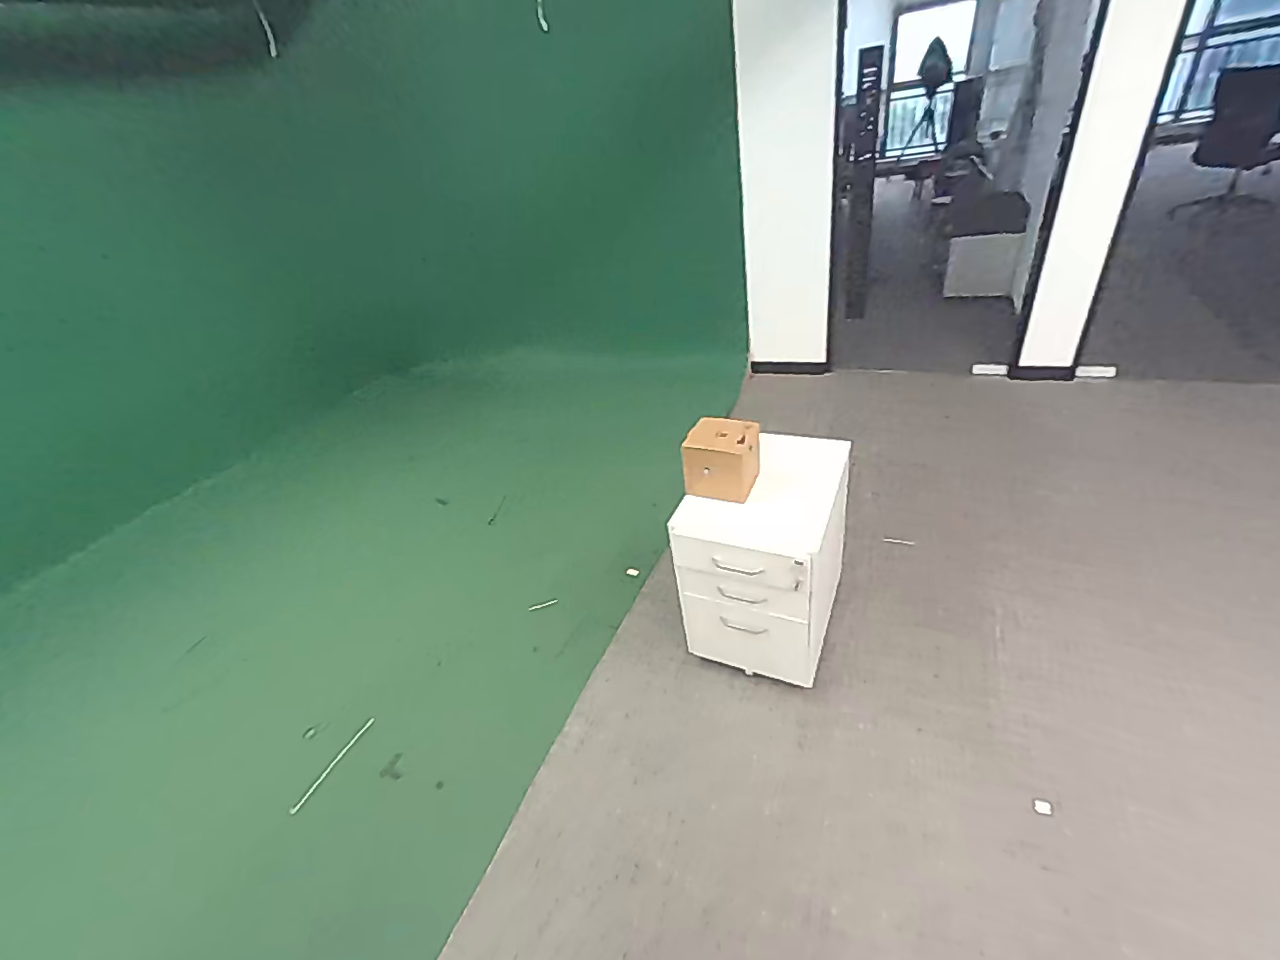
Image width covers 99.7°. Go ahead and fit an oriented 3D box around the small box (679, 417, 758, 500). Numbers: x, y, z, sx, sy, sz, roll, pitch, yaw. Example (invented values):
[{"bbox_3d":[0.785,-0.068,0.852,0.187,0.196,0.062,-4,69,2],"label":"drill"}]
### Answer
[{"bbox_3d":[0.228,-0.061,1.526,0.179,0.176,0.168,9,40,25],"label":"small box"}]
